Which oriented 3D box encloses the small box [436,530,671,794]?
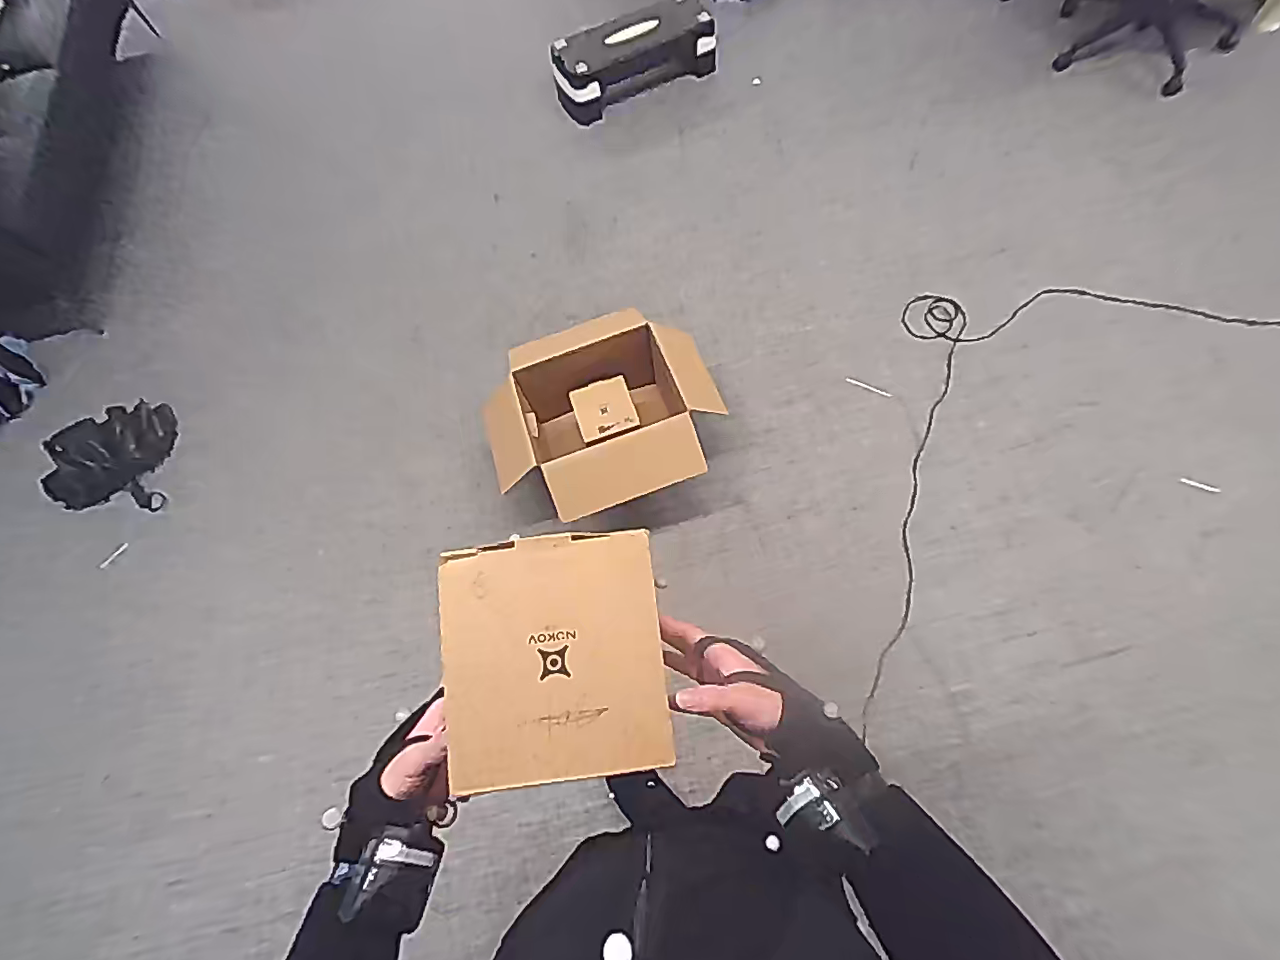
[{"bbox_3d":[-0.069,0.143,0.480,0.168,0.176,0.179,-6,83,-3],"label":"small box"}]
